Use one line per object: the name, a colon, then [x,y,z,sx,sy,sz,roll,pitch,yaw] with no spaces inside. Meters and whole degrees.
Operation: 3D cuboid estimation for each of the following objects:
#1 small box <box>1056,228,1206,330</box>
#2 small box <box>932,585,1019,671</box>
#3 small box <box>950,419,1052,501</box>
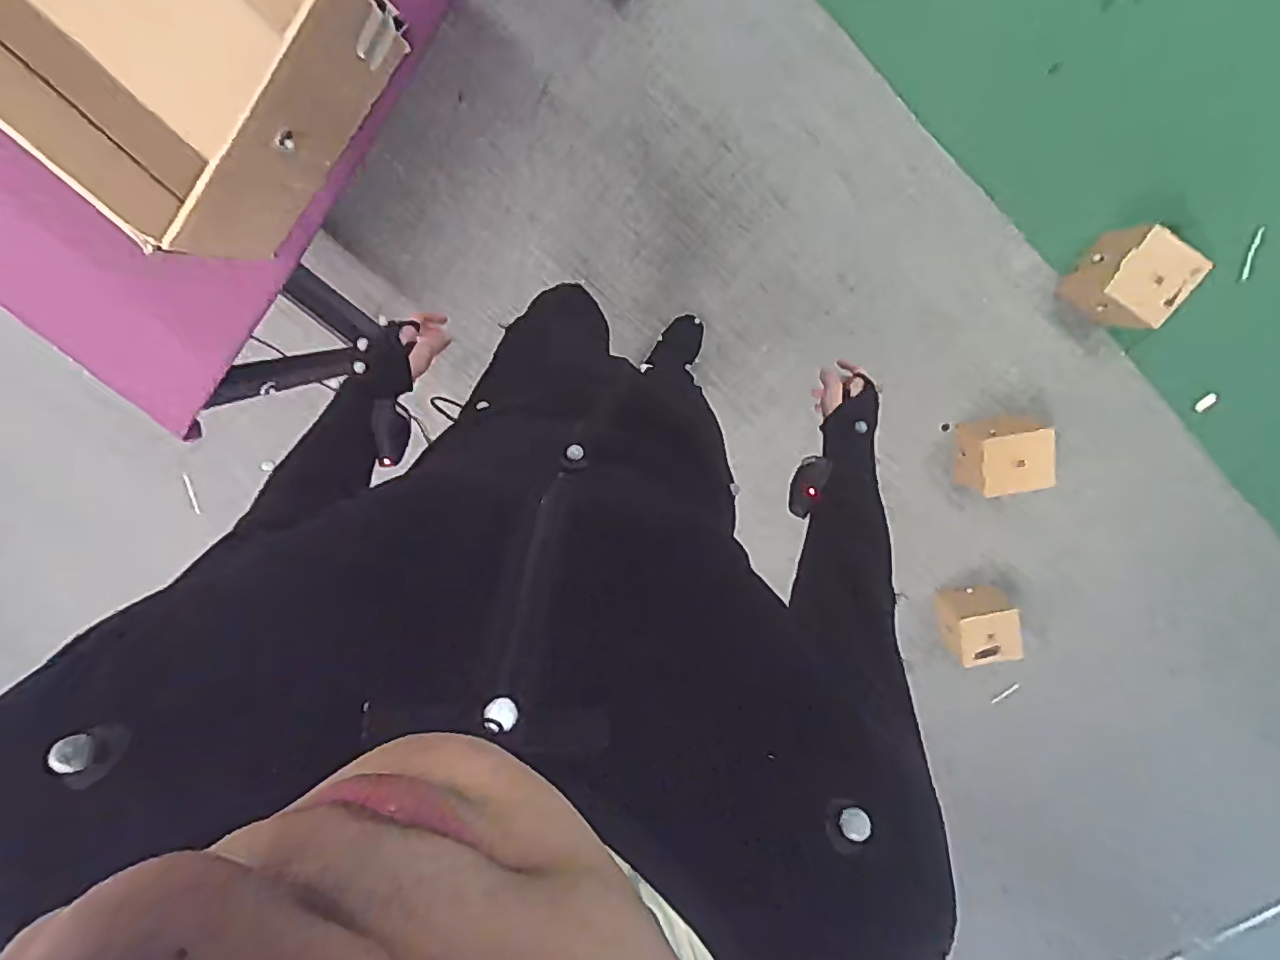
small box: [1.187,-0.484,1.326,0.179,0.176,0.168,31,108,-6]
small box: [1.016,0.447,1.644,0.168,0.176,0.179,-14,106,8]
small box: [0.983,-0.060,1.481,0.179,0.176,0.168,-11,107,9]
